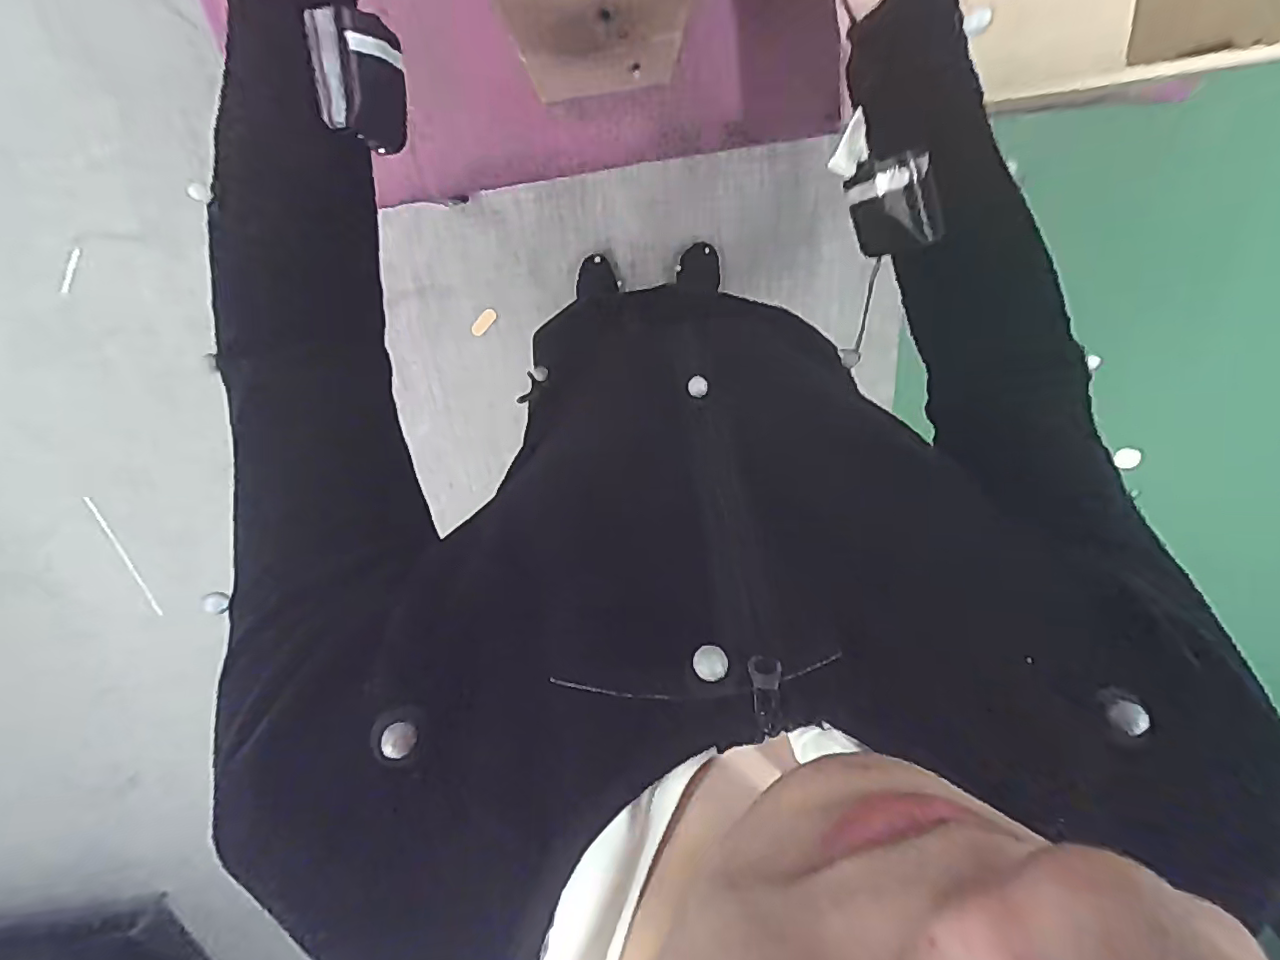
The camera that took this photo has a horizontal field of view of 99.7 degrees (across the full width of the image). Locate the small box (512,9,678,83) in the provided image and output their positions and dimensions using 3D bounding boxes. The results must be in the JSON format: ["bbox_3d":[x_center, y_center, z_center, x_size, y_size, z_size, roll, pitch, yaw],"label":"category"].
[{"bbox_3d":[-0.054,-0.548,0.573,0.168,0.176,0.179,-8,113,1],"label":"small box"}]

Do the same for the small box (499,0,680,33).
[{"bbox_3d":[-0.048,-0.484,0.422,0.168,0.176,0.179,-8,114,1],"label":"small box"}]

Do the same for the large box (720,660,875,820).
[{"bbox_3d":[0.565,0.958,2.009,0.408,0.320,0.320,-38,111,13],"label":"large box"}]
